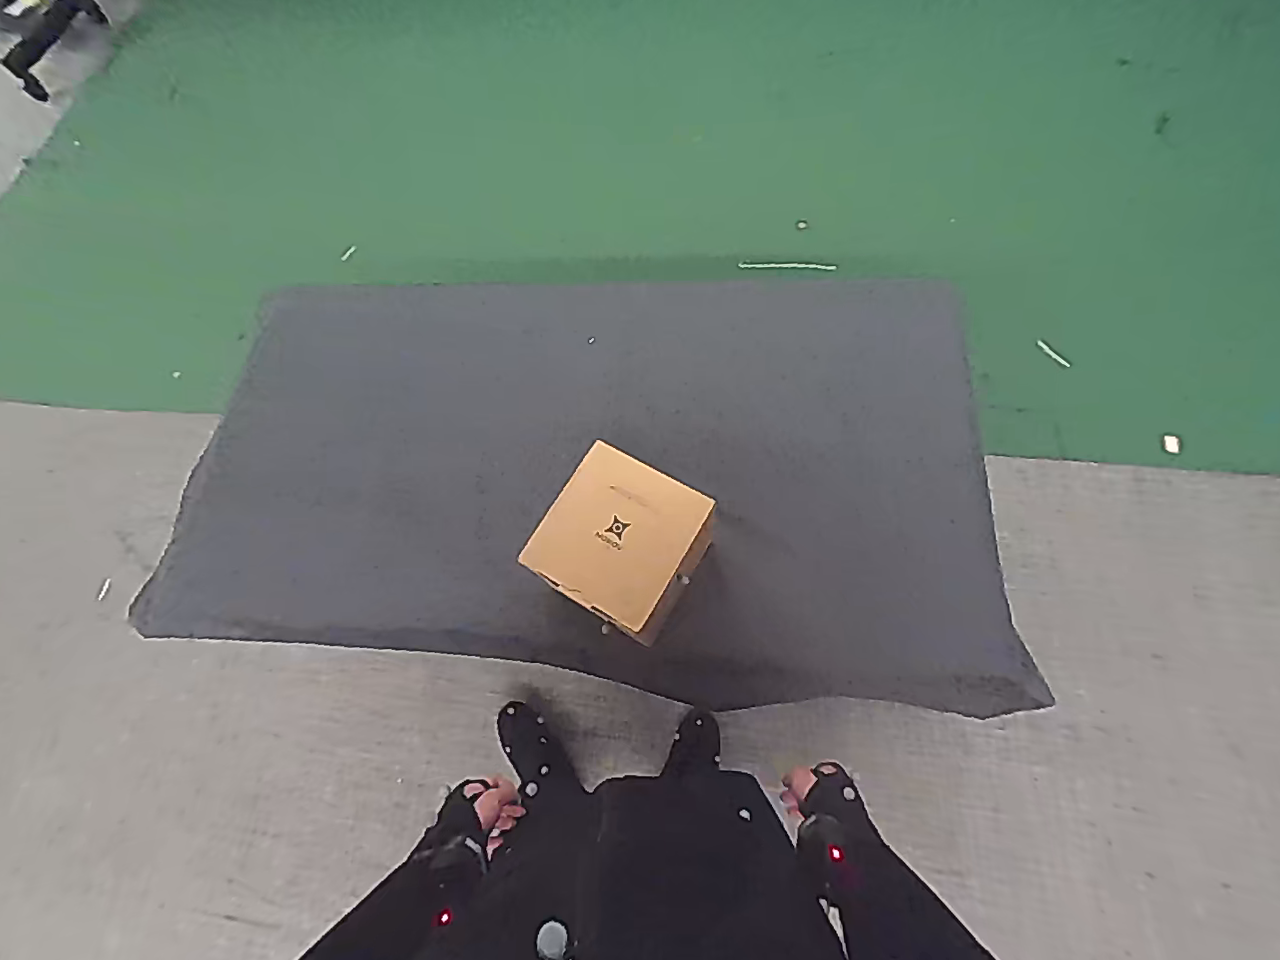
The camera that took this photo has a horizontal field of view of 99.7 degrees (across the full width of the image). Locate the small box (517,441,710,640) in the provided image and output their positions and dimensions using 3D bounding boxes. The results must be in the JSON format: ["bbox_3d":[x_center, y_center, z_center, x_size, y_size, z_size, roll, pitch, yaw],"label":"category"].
[{"bbox_3d":[-0.022,0.087,0.691,0.168,0.176,0.179,28,73,14],"label":"small box"}]
